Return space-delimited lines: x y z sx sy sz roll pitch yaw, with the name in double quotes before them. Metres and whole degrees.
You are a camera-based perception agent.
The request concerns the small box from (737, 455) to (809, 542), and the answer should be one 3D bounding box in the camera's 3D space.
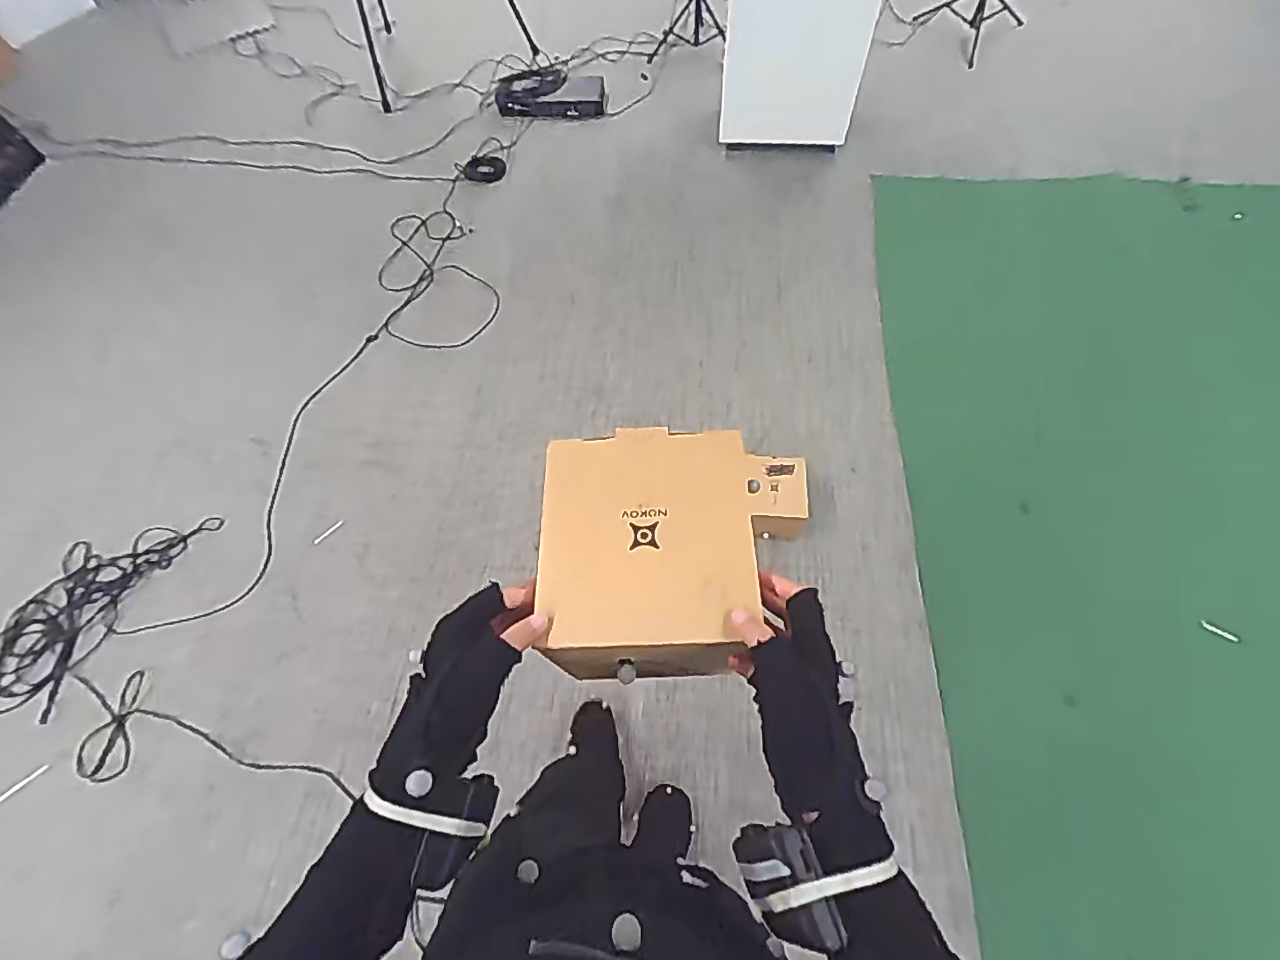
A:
"small box" 0.354 0.052 1.466 0.168 0.176 0.179 3 64 5
